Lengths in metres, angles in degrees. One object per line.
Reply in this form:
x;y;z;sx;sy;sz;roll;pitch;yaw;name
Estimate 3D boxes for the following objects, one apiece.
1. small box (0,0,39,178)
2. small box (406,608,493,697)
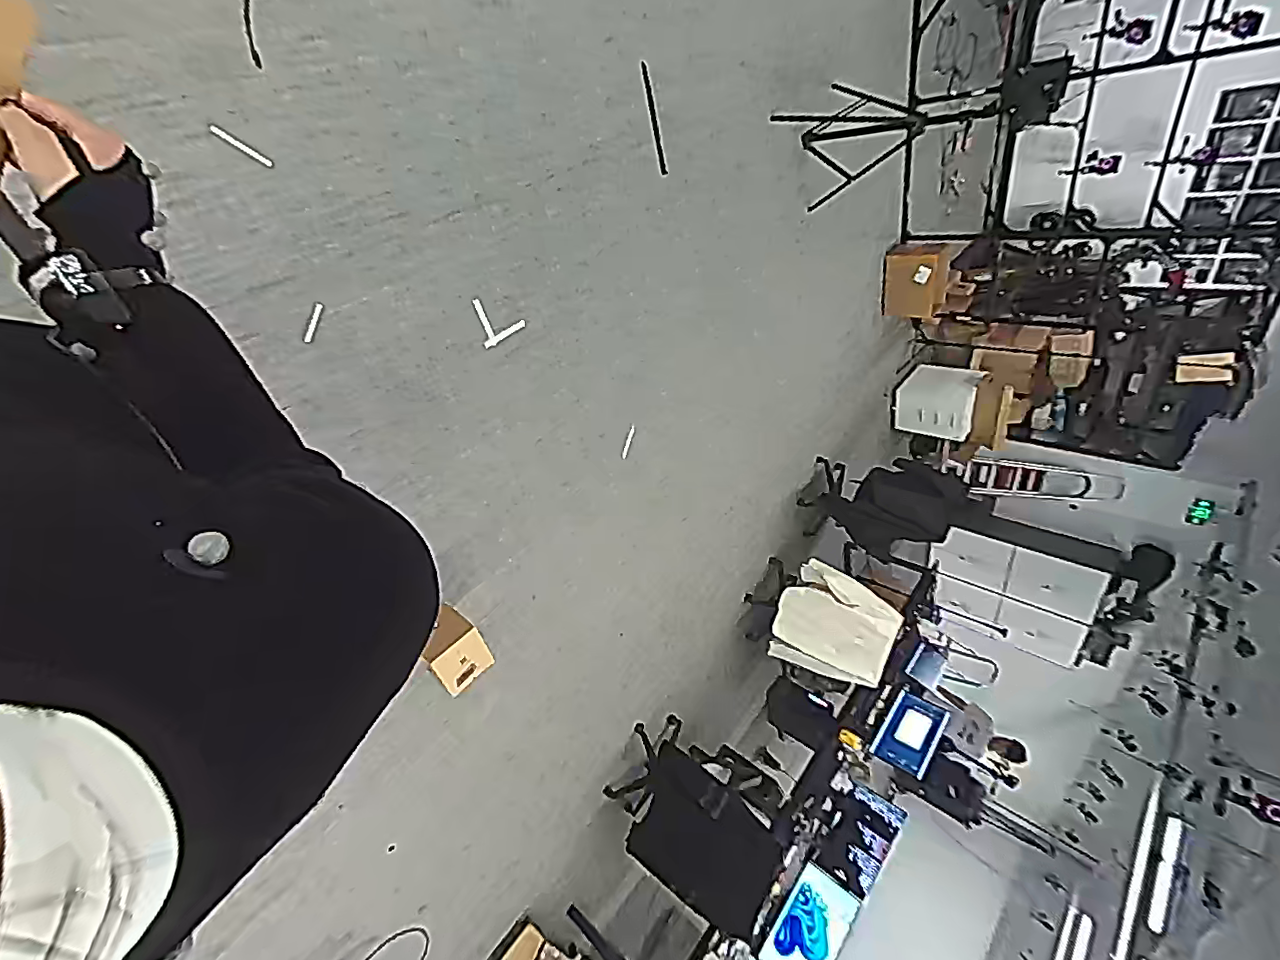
-0.582;-0.318;0.358;0.179;0.176;0.168;3;104;-75;small box
-0.603;0.538;1.713;0.168;0.176;0.179;-40;131;-32;small box
